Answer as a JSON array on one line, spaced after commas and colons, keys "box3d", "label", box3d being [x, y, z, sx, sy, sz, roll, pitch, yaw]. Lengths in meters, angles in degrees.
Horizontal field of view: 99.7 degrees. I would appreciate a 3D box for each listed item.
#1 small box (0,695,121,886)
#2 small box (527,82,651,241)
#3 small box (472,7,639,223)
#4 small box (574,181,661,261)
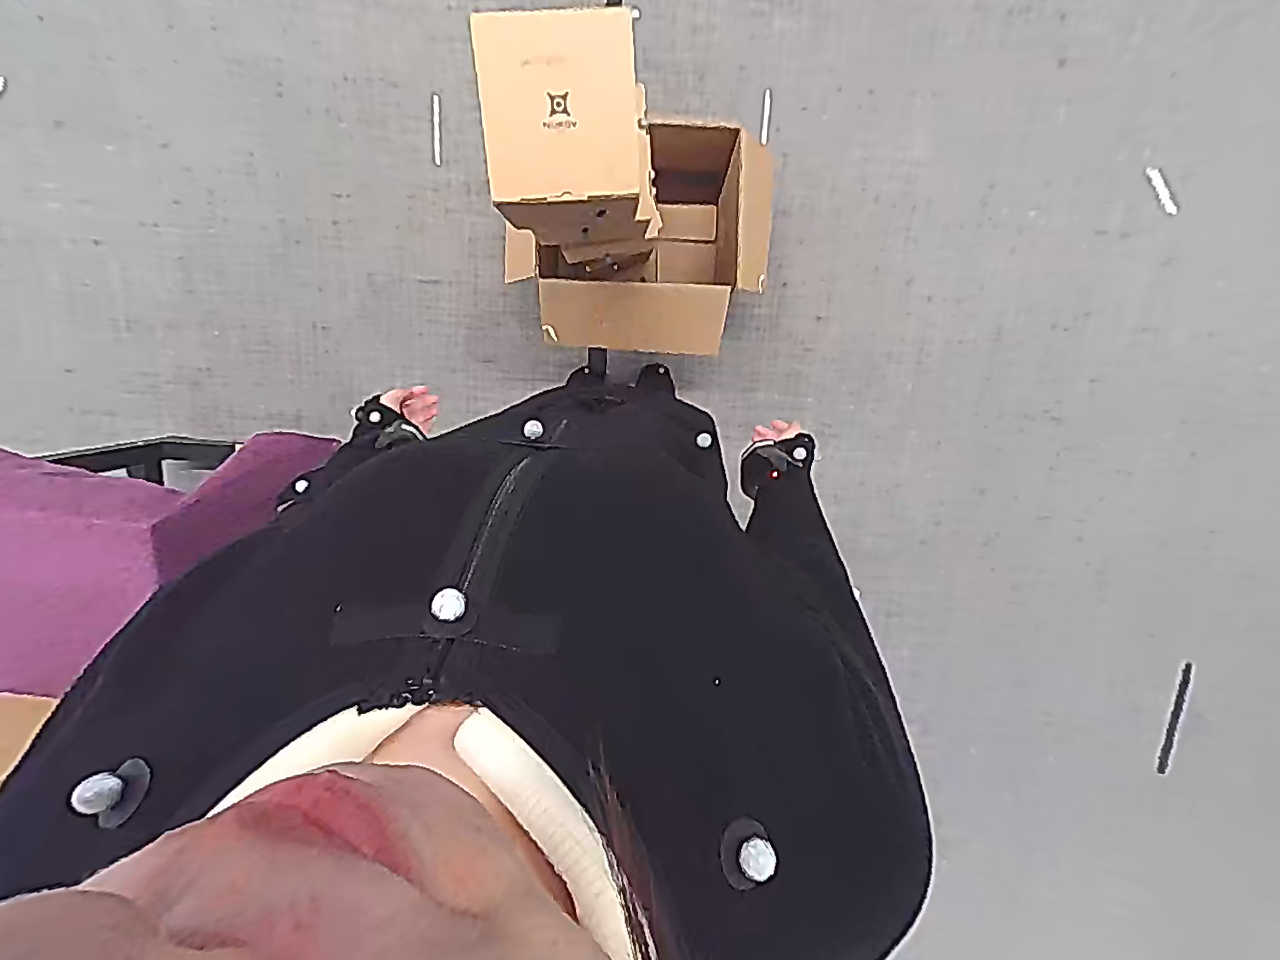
[{"box3d": [-0.899, 0.431, 0.774, 0.179, 0.176, 0.168, 7, 103, 0], "label": "small box"}, {"box3d": [-0.079, -0.456, 0.800, 0.179, 0.176, 0.168, -5, 107, -2], "label": "small box"}, {"box3d": [-0.088, -0.411, 0.642, 0.168, 0.176, 0.179, -4, 106, -3], "label": "small box"}, {"box3d": [-0.066, -0.565, 1.112, 0.179, 0.176, 0.168, -19, 105, 1], "label": "small box"}]
